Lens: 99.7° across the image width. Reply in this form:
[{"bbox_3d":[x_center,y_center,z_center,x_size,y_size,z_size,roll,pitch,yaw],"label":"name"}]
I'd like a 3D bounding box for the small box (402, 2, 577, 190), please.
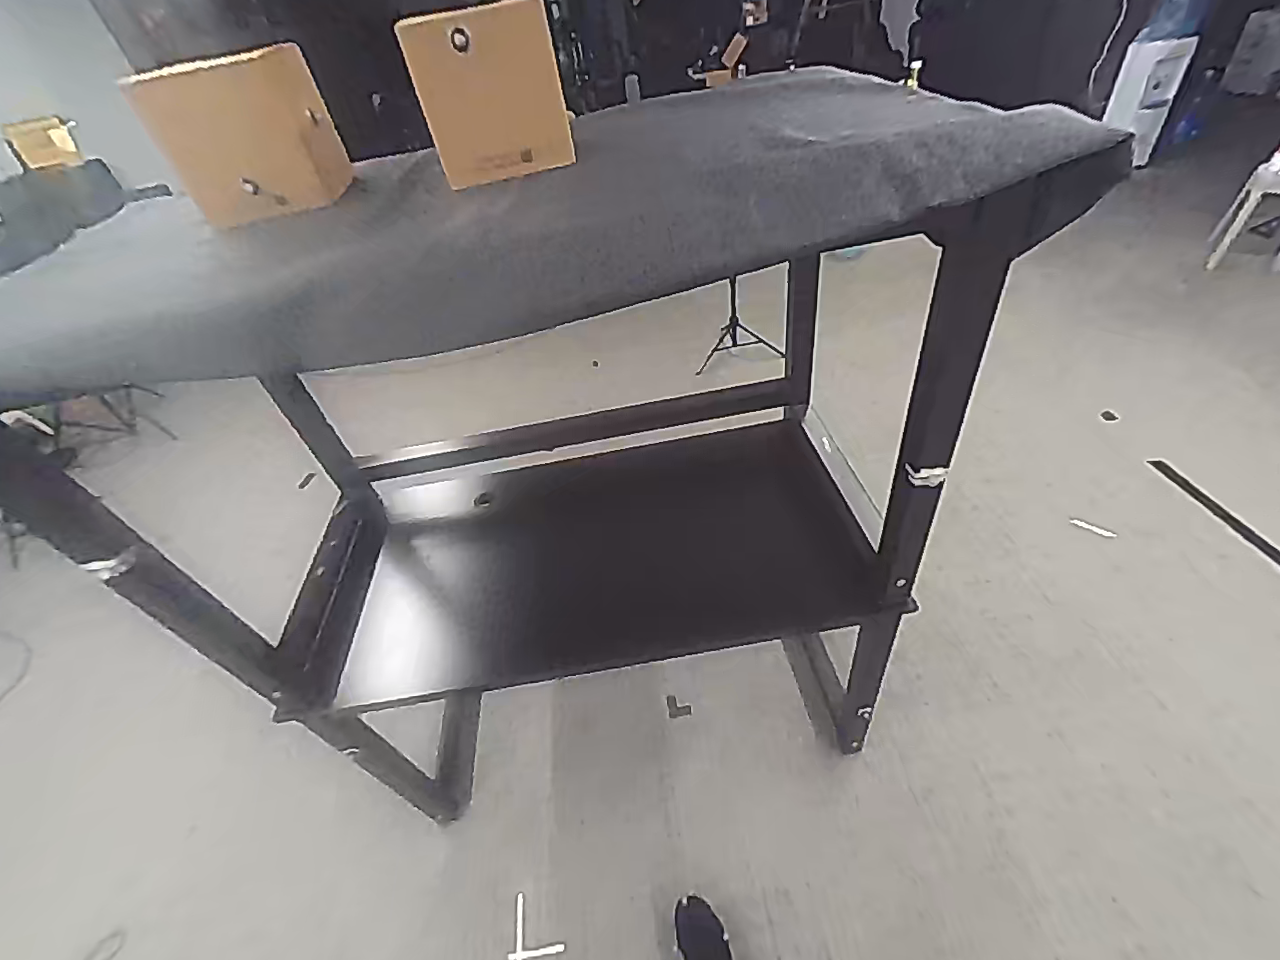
[{"bbox_3d":[-0.186,-0.498,0.709,0.168,0.176,0.179,-15,42,-3],"label":"small box"}]
